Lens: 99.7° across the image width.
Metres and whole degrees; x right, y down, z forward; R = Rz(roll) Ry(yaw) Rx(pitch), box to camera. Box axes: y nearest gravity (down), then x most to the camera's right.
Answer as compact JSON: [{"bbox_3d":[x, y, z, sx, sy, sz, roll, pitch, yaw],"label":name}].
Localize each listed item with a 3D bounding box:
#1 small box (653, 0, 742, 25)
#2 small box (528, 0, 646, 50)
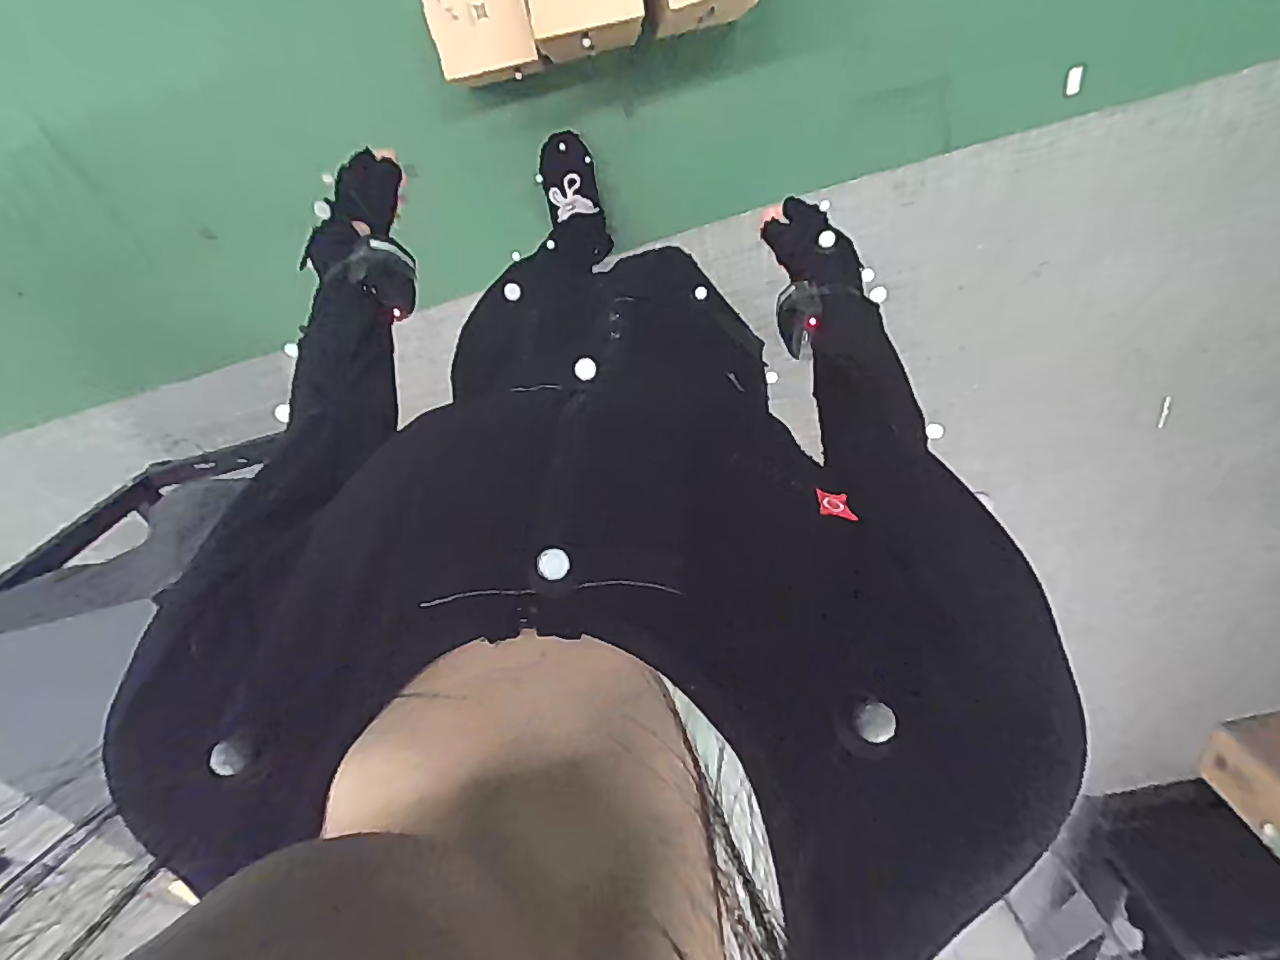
[{"bbox_3d":[0.102,-0.847,0.841,0.179,0.176,0.168,-14,122,5],"label":"small box"},{"bbox_3d":[-0.094,-0.805,0.853,0.179,0.176,0.168,-10,123,3],"label":"small box"}]
